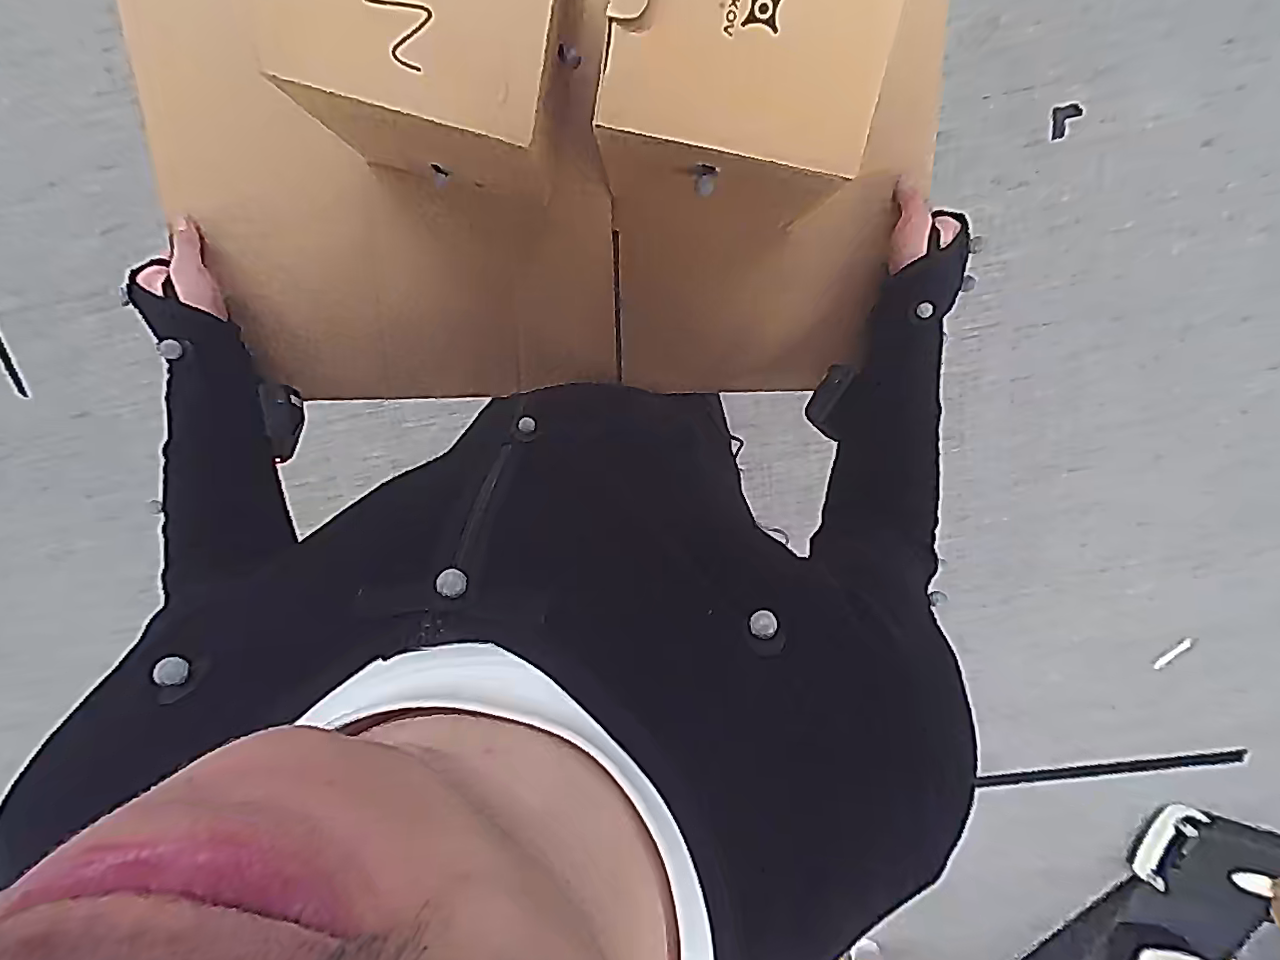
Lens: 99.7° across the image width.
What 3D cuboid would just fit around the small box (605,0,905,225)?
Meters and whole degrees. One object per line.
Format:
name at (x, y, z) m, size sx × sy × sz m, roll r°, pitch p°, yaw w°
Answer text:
small box at (0.079, -0.312, 0.422) m, size 0.179 × 0.176 × 0.168 m, roll 11°, pitch 104°, yaw 0°
